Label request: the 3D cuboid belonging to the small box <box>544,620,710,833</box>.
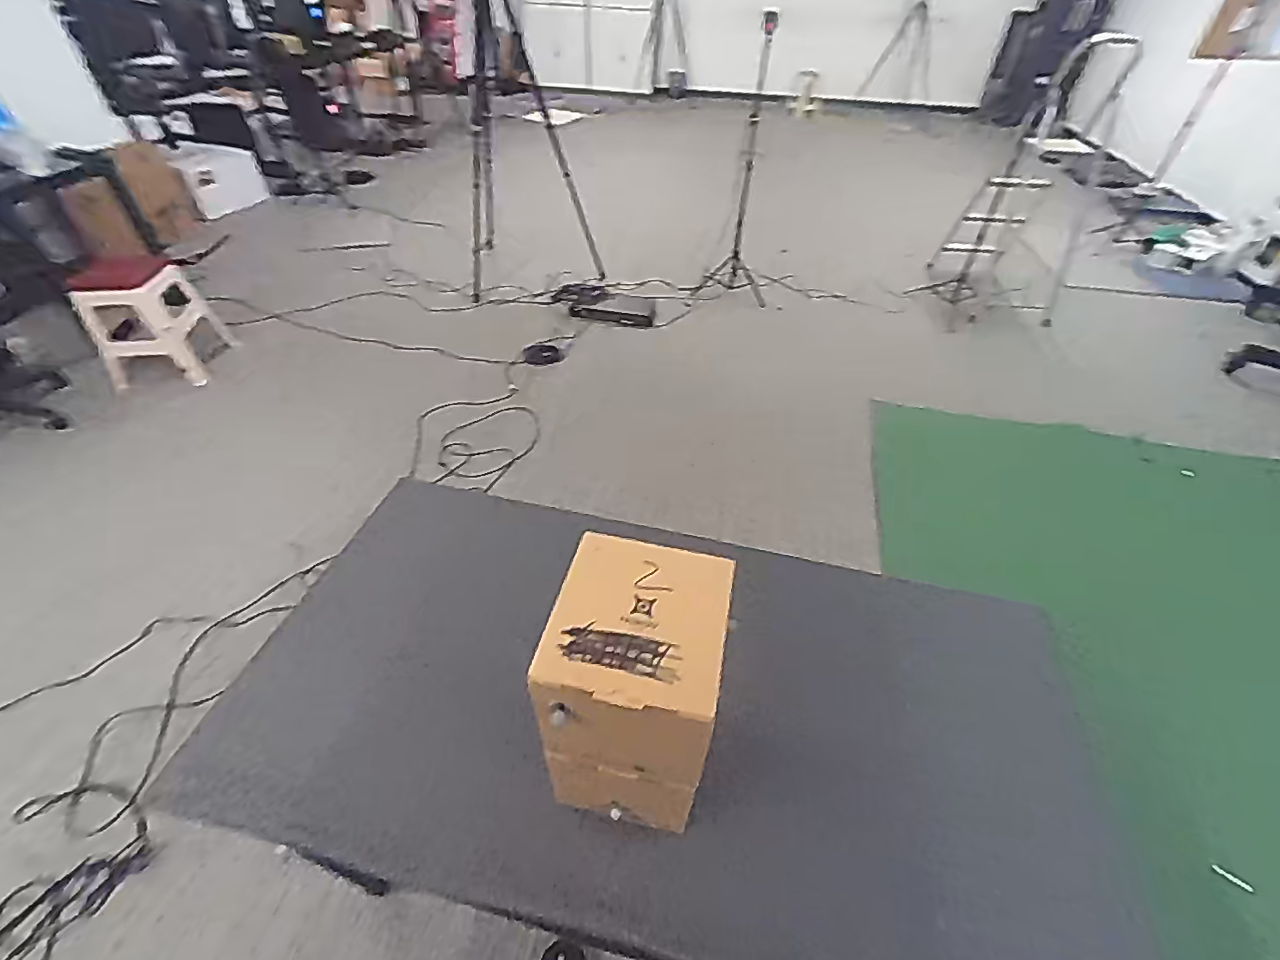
[{"bbox_3d":[-0.012,0.311,0.687,0.168,0.176,0.179,10,44,7],"label":"small box"}]
